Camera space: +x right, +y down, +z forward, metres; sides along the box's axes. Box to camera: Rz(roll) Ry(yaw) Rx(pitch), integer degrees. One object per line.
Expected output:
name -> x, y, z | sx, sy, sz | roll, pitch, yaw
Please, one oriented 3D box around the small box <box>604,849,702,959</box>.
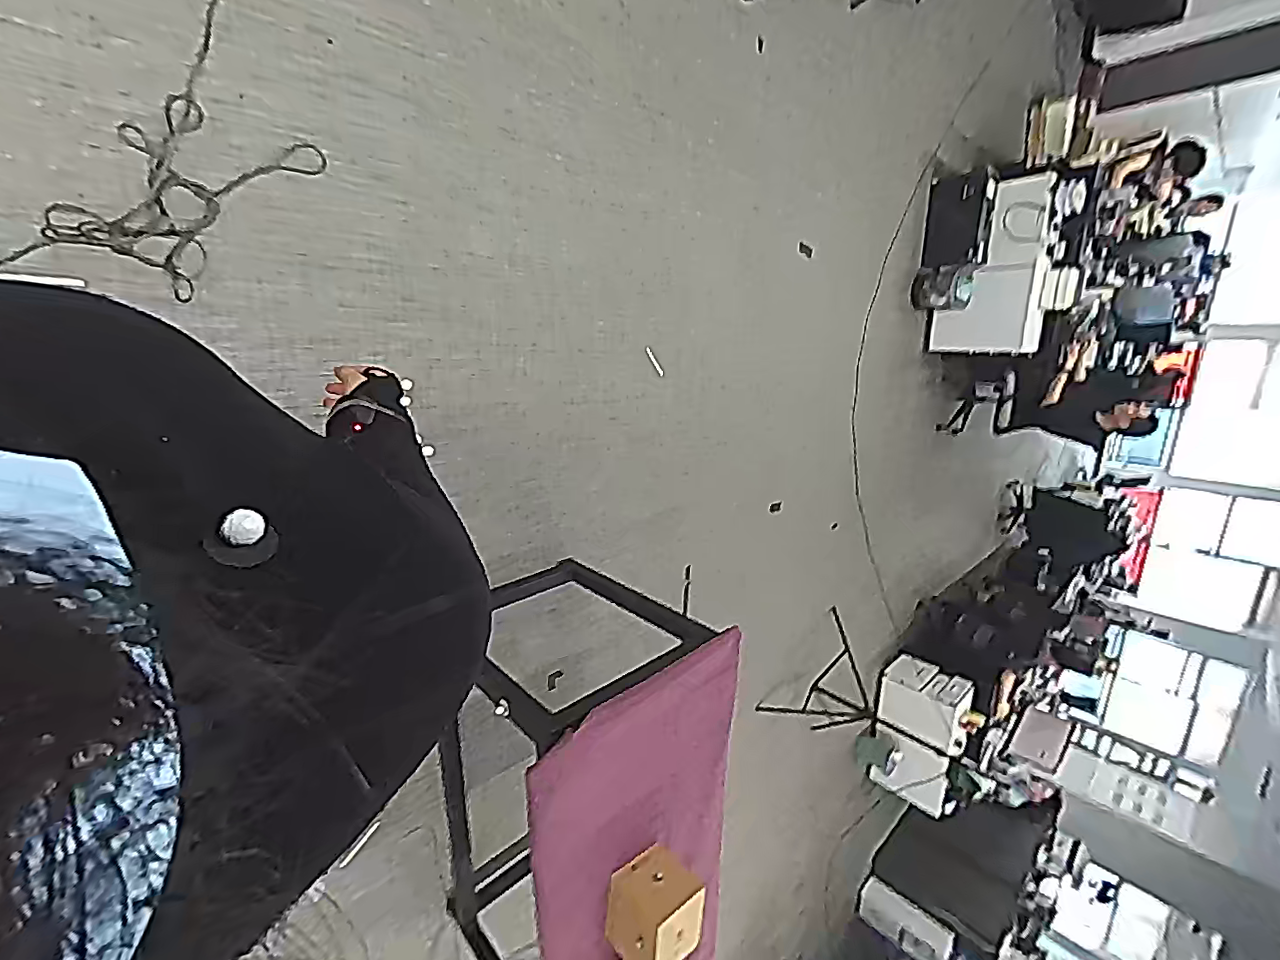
small box -> 0.028, 1.049, 1.320 | 0.168, 0.176, 0.179 | -3, 103, -44
